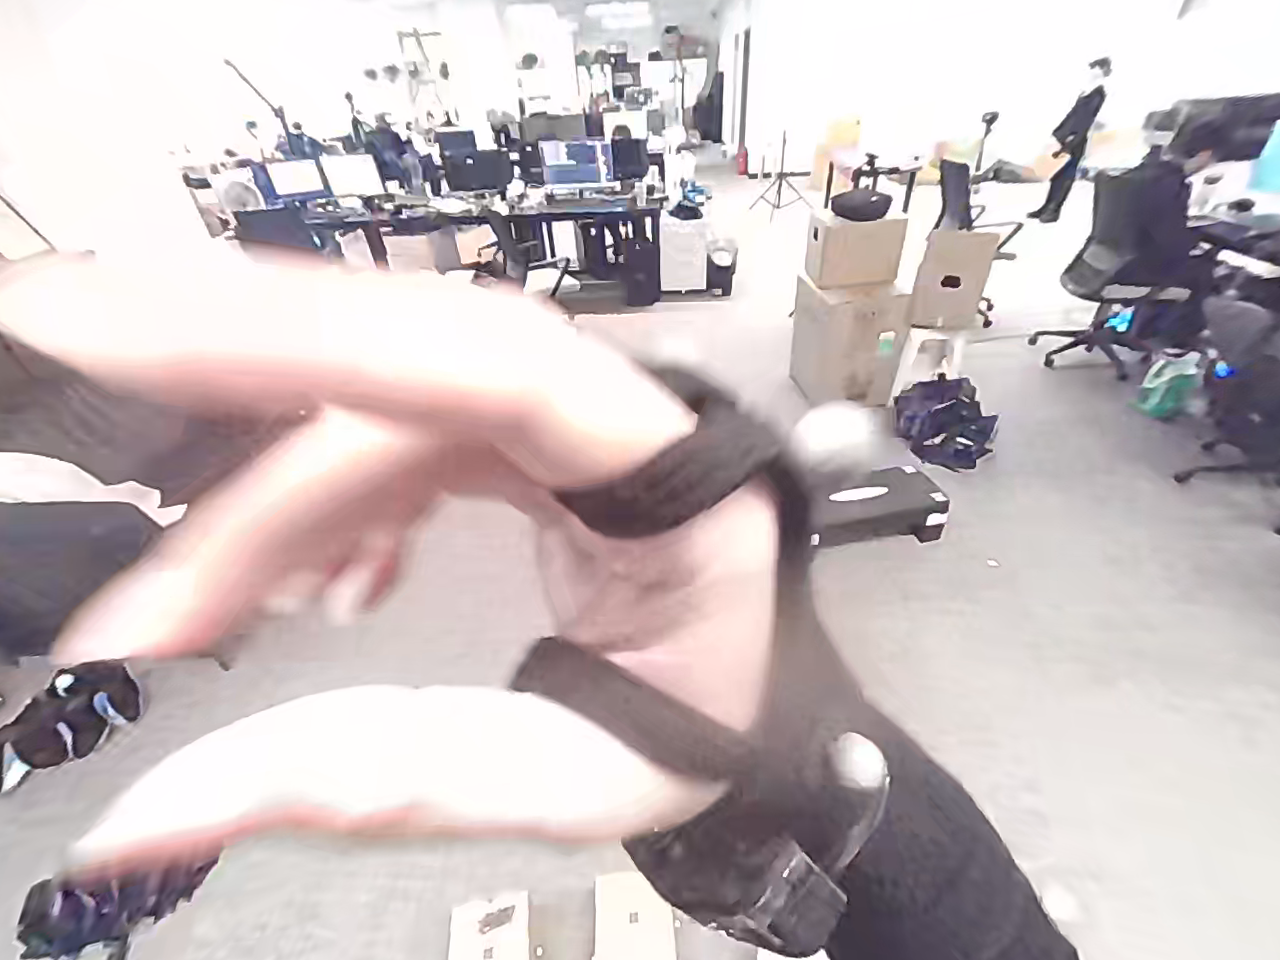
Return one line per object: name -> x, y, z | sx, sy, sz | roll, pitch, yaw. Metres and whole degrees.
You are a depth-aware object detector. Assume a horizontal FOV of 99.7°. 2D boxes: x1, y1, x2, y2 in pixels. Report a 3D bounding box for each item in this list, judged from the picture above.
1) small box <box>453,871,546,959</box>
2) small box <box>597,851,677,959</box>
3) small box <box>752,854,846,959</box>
small box -> -0.301, 1.002, 1.183 | 0.168, 0.176, 0.179 | -9, 39, -6
small box -> -0.007, 0.966, 1.207 | 0.168, 0.176, 0.179 | -4, 36, -2
small box -> 0.341, 0.964, 1.170 | 0.168, 0.176, 0.179 | 10, 41, 19
